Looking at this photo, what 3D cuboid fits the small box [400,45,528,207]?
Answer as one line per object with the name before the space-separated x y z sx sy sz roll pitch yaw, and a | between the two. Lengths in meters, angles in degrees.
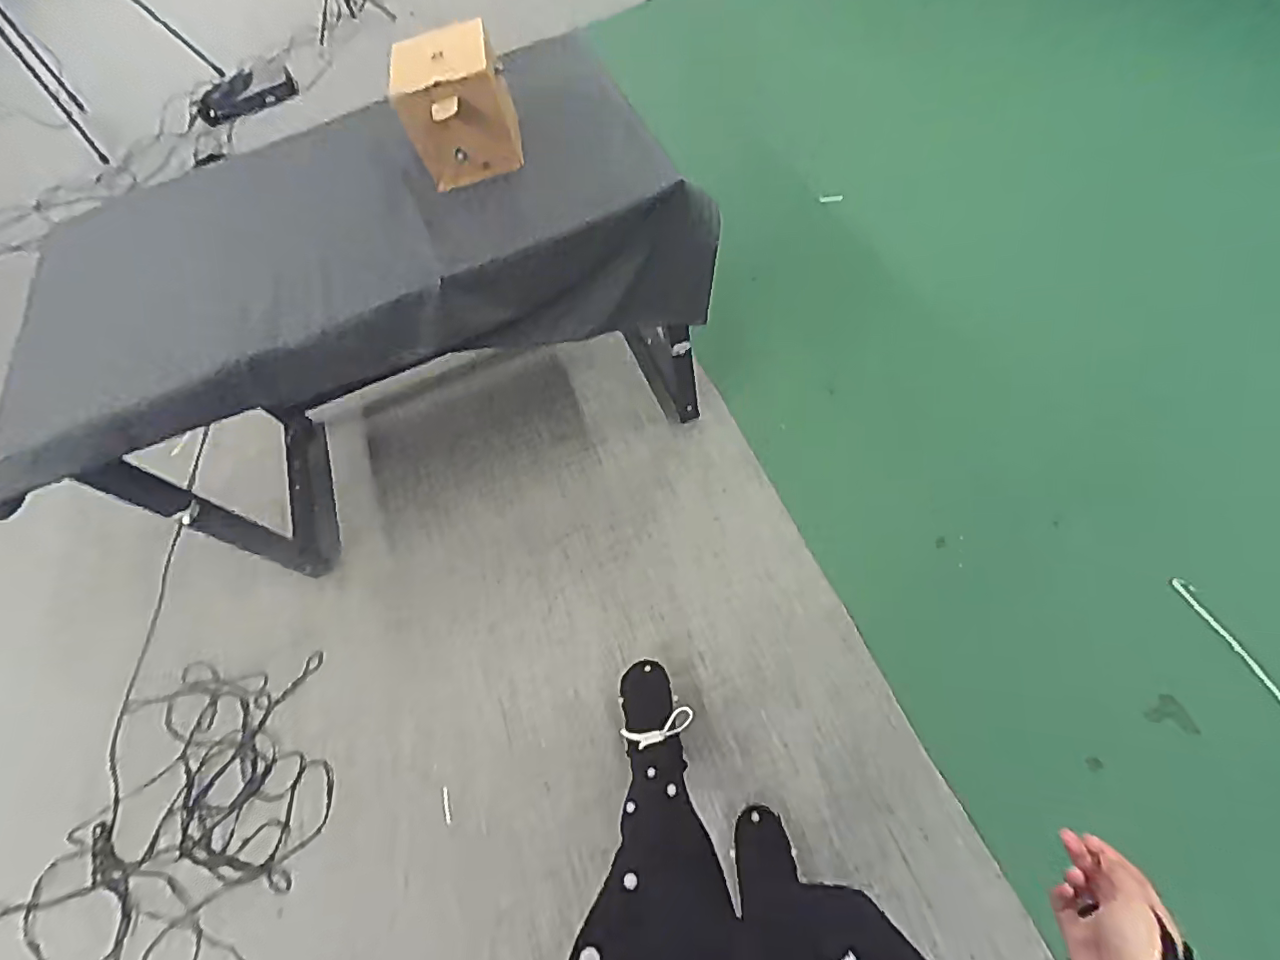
small box | -0.311 -0.636 0.981 0.168 0.176 0.179 -14 61 3
